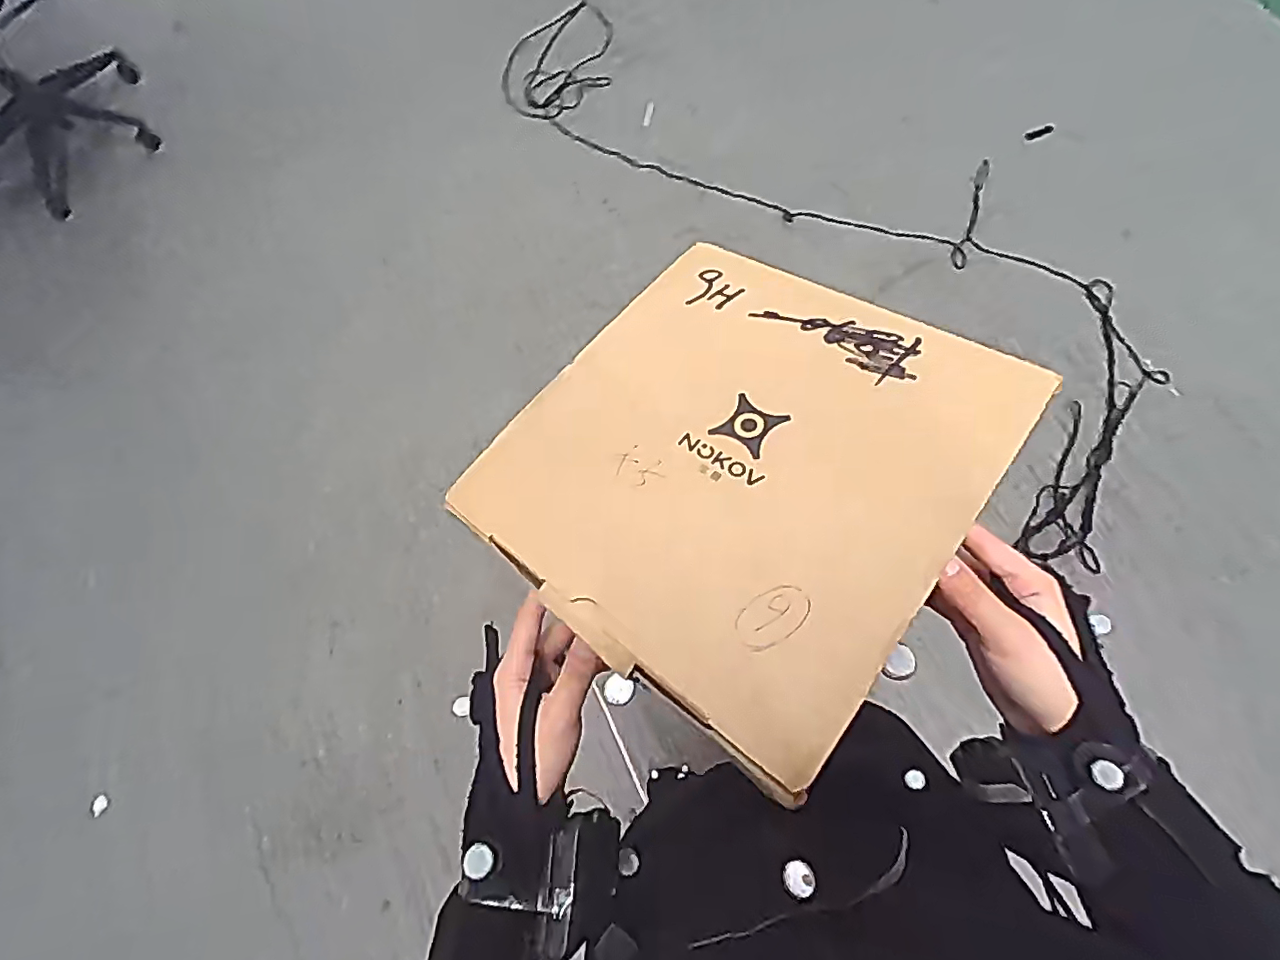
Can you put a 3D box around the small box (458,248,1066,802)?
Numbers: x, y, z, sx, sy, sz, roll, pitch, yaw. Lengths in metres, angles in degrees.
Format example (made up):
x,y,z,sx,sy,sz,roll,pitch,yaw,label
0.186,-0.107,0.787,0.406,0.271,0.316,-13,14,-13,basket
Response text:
x,y,z,sx,sy,sz,roll,pitch,yaw,label
0.054,0.027,0.273,0.168,0.176,0.179,34,73,27,small box
